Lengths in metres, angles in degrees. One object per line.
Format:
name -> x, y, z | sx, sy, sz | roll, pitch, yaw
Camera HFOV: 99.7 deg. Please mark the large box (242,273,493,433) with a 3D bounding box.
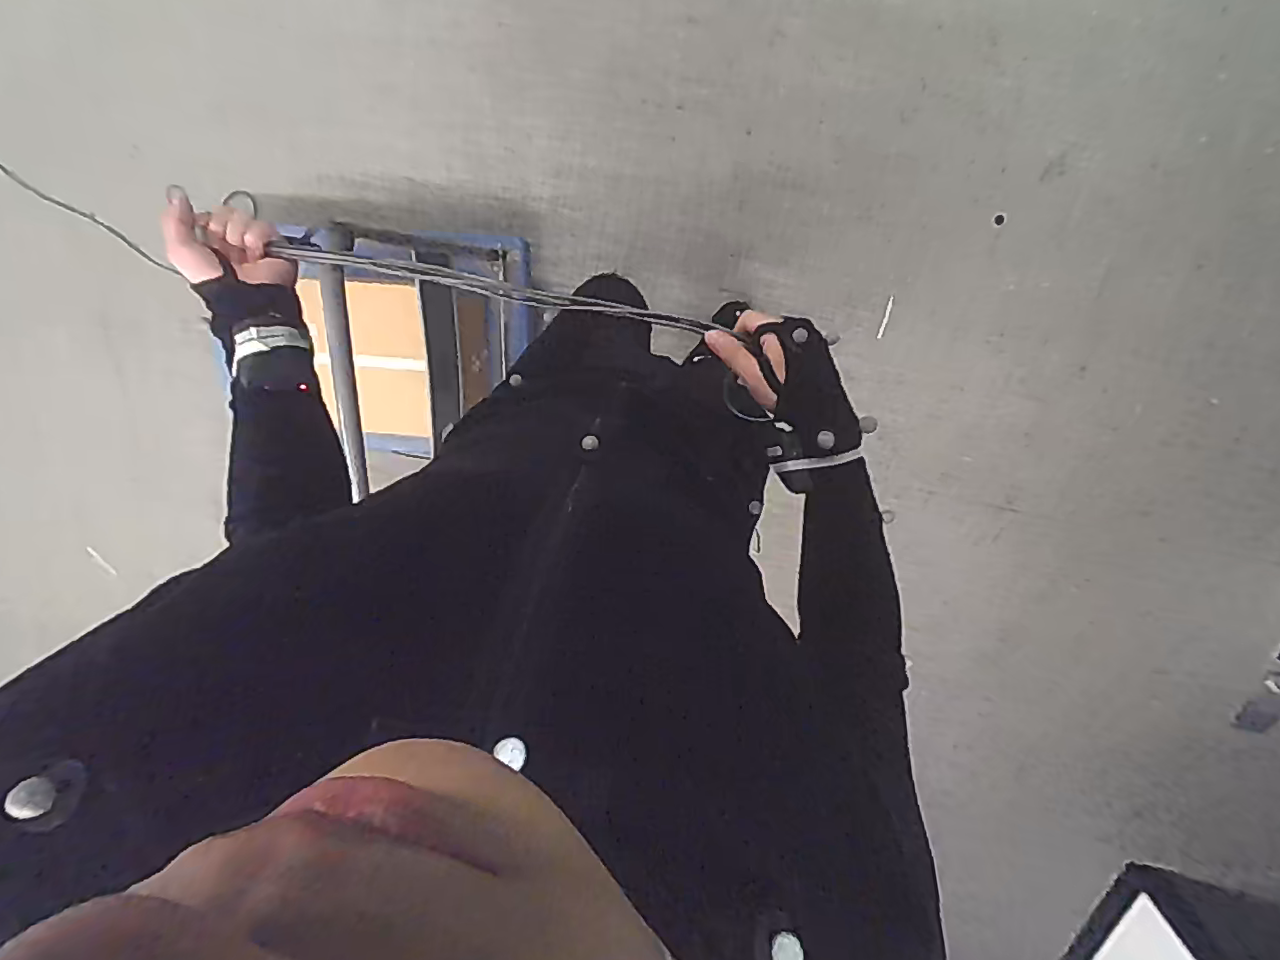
large box -> -0.598, -0.310, 1.263 | 0.408, 0.320, 0.320 | 5, 110, 6
